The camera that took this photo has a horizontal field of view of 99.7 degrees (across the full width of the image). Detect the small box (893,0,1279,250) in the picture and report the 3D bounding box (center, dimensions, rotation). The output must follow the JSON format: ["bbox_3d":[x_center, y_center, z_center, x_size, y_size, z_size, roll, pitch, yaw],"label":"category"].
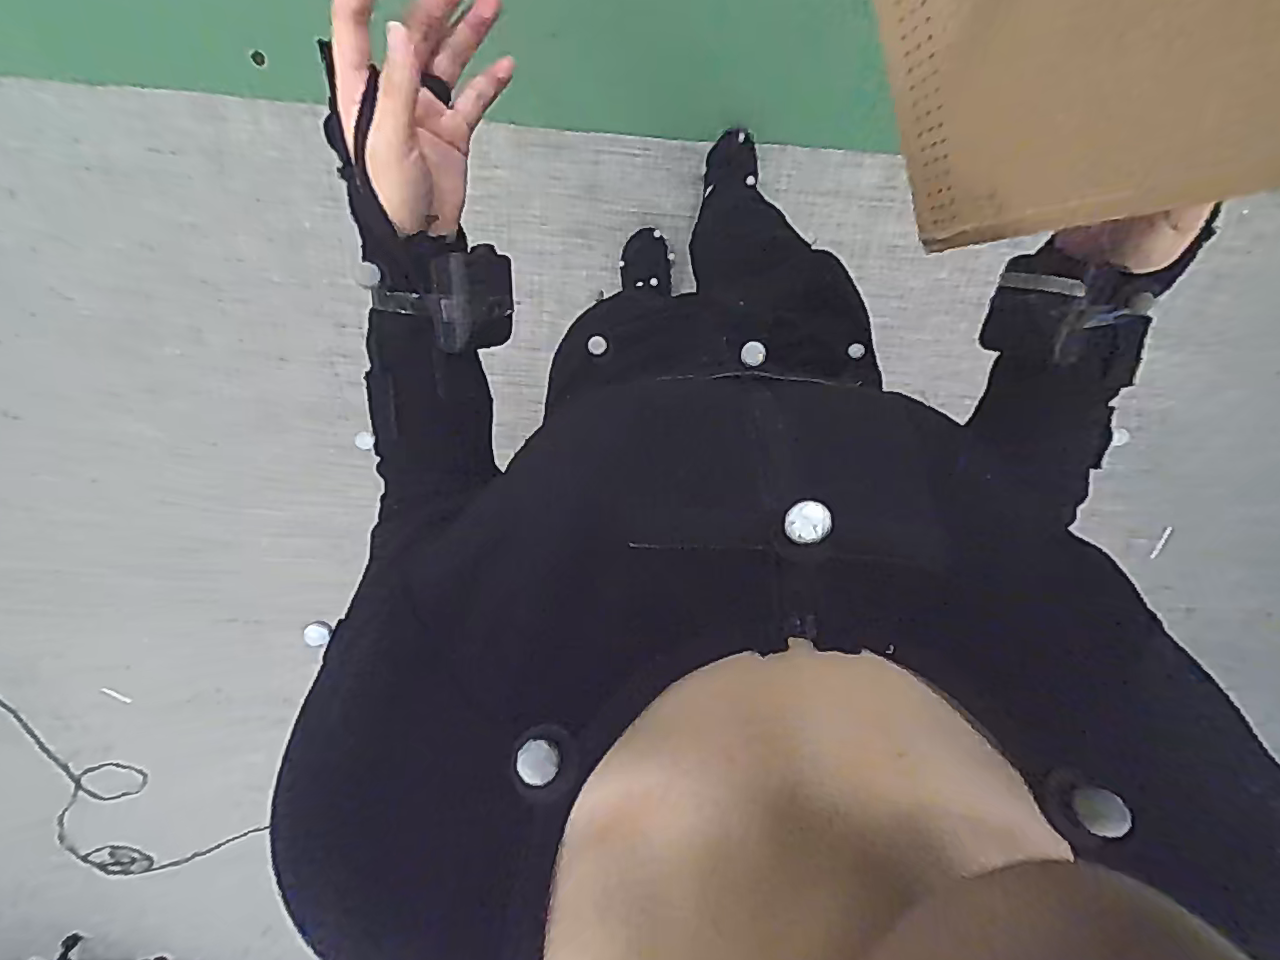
[{"bbox_3d":[0.206,-0.199,0.178,0.168,0.176,0.179,-22,108,-1],"label":"small box"}]
